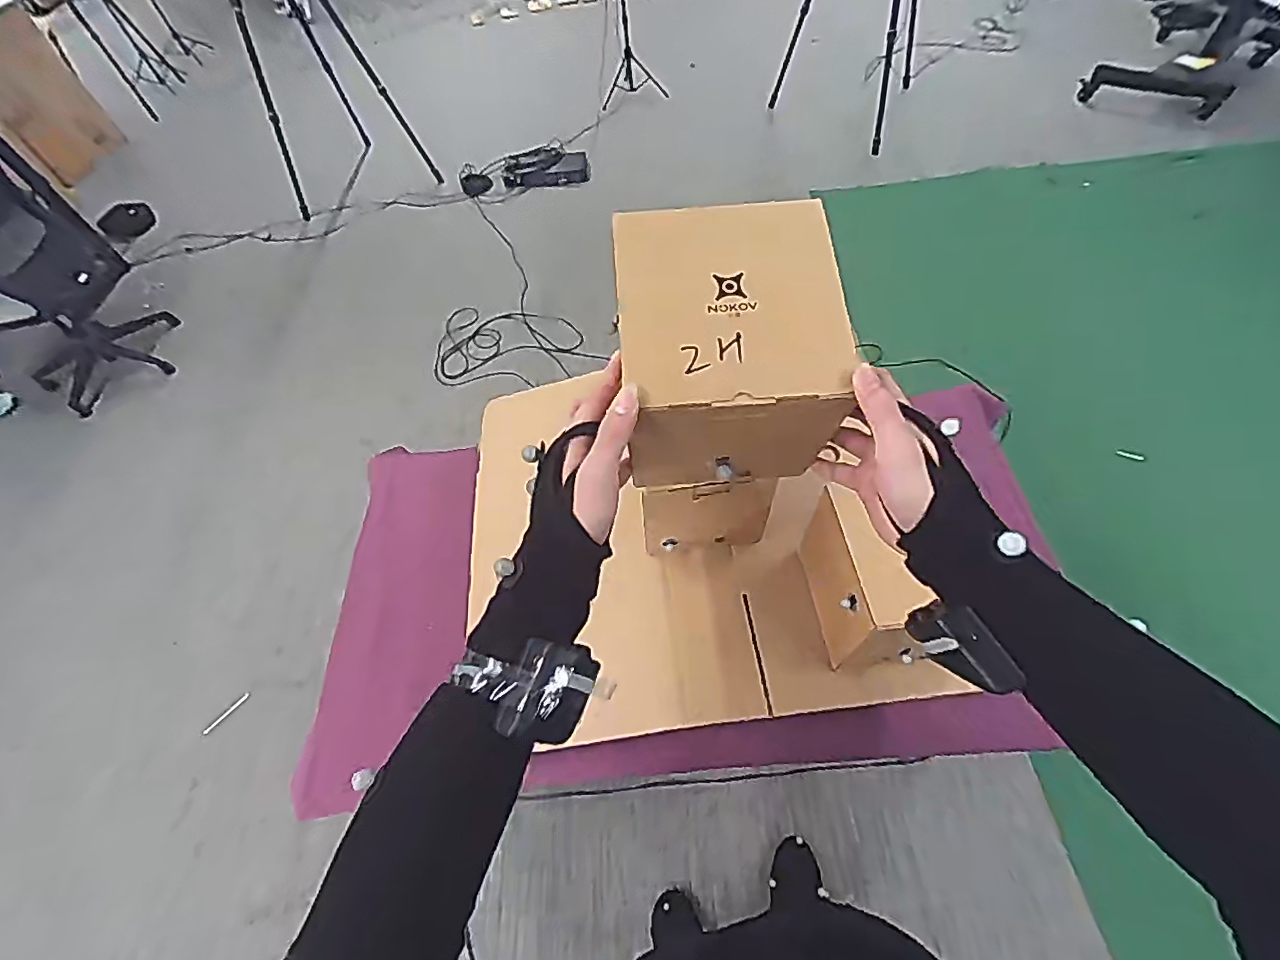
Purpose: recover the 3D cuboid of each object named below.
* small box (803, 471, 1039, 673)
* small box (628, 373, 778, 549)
[{"bbox_3d":[0.306,0.113,0.640,0.168,0.176,0.179,-7,57,-1],"label":"small box"},{"bbox_3d":[0.078,-0.017,0.737,0.168,0.176,0.179,-7,56,-1],"label":"small box"}]
